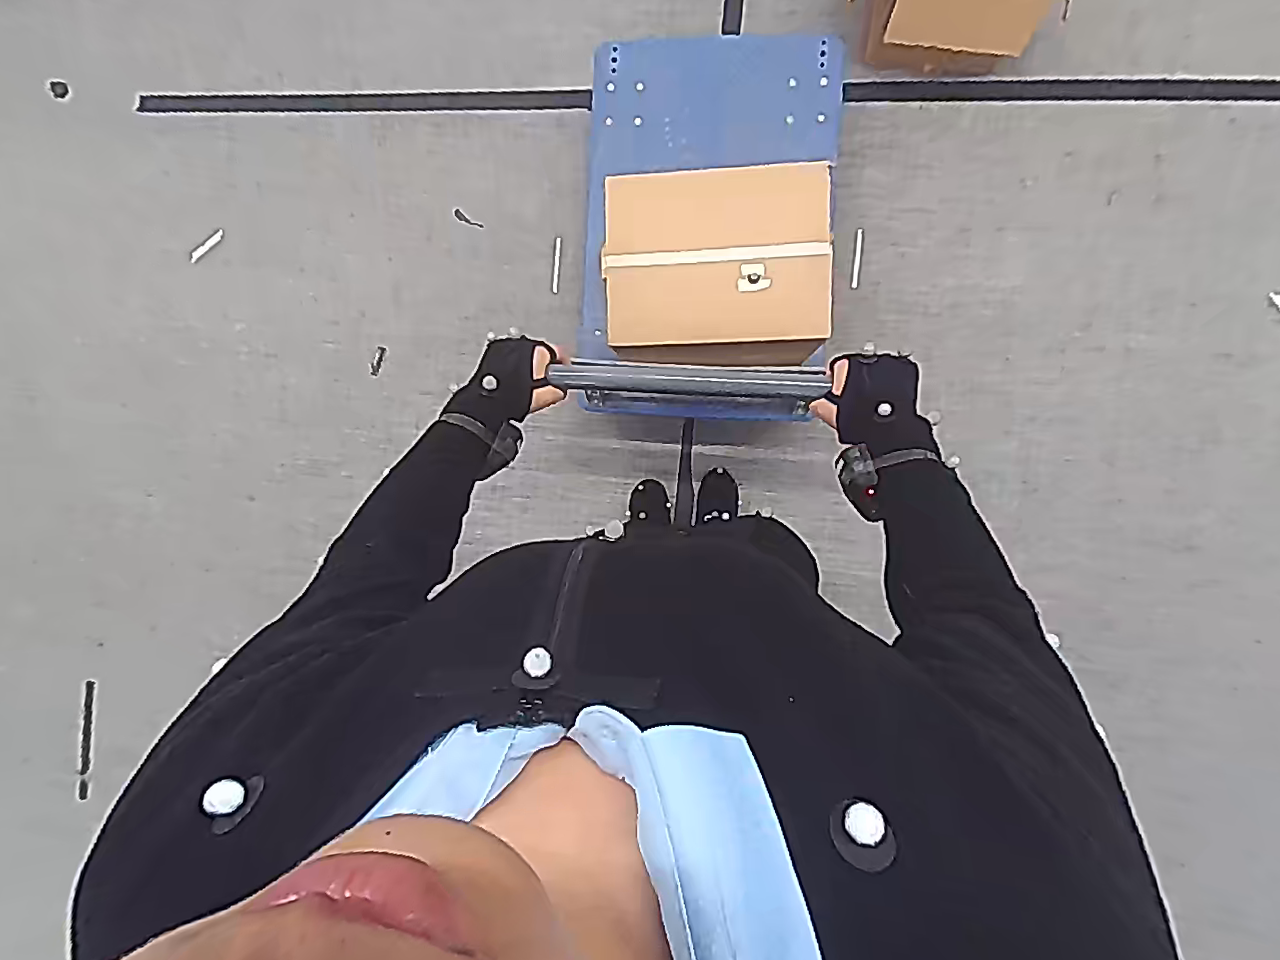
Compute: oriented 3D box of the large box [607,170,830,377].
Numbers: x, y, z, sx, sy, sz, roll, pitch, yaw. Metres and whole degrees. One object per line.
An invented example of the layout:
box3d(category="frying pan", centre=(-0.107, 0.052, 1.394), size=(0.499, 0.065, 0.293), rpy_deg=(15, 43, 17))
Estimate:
box3d(category="large box", centre=(0.153, -0.402, 1.138), size=(0.408, 0.320, 0.320), rpy_deg=(-1, 92, 5))
